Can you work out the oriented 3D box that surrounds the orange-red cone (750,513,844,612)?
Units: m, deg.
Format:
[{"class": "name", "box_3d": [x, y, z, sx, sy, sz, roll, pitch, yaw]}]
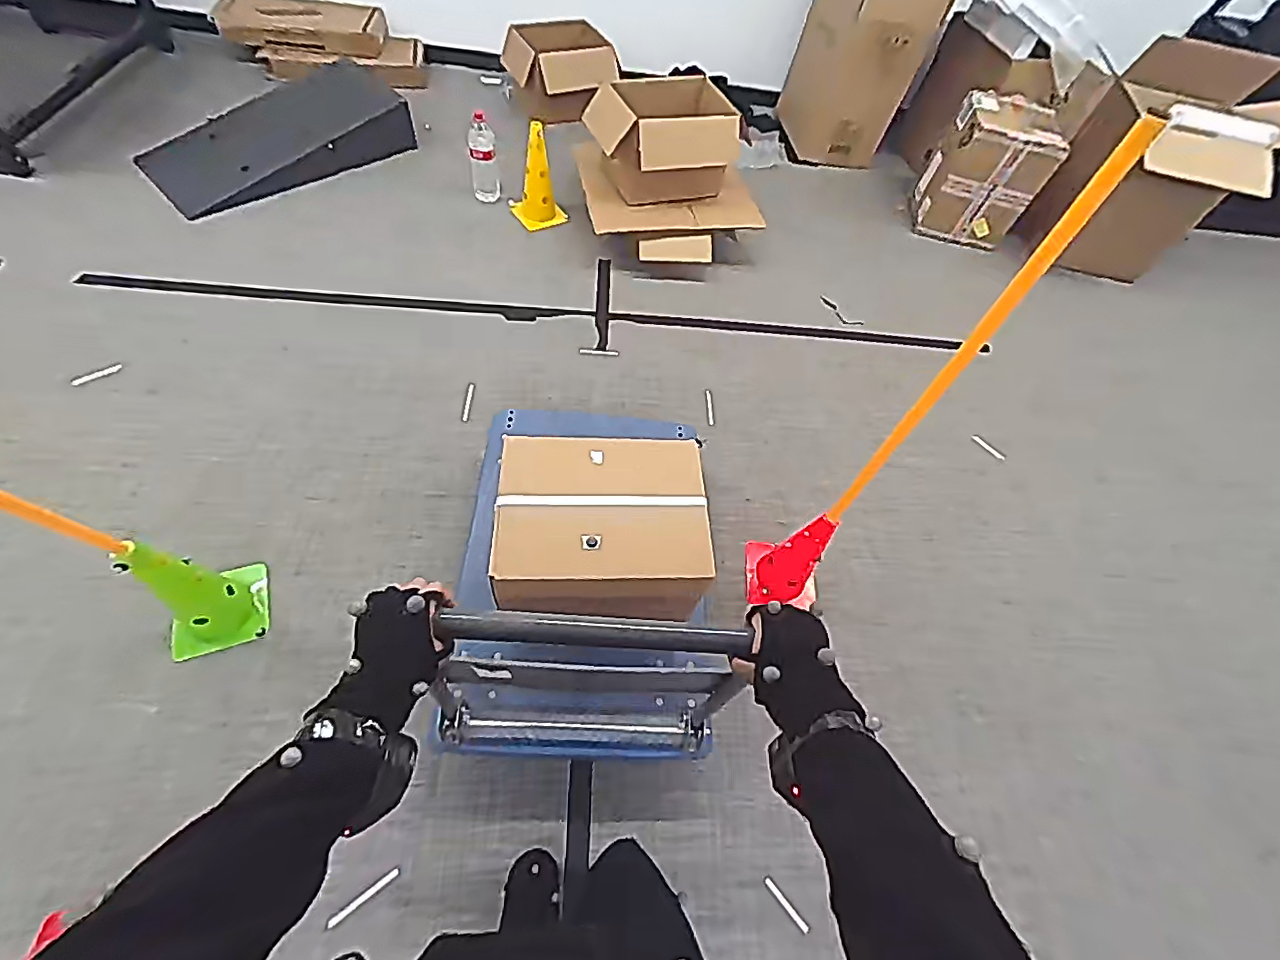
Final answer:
[{"class": "orange-red cone", "box_3d": [0.434, 0.183, 1.399, 0.199, 0.360, 0.198, 9, 58, -4]}]
